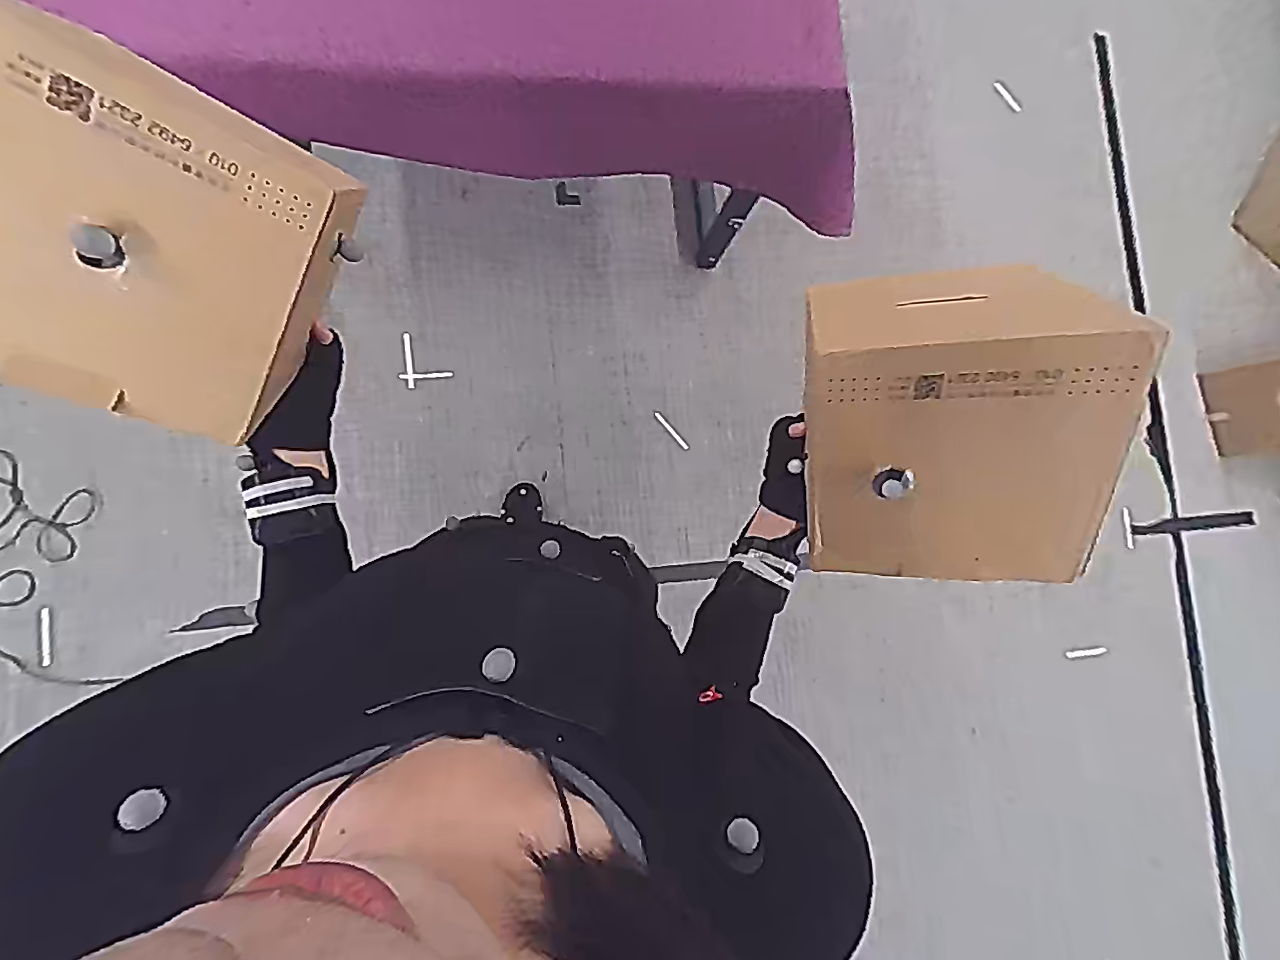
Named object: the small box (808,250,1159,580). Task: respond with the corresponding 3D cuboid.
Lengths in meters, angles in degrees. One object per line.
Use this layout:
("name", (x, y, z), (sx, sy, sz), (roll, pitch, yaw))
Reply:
("small box", (0.208, -0.053, 0.381), (0.168, 0.179, 0.176), (1, 122, 15))

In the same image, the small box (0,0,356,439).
("small box", (-0.293, -0.154, 0.326), (0.168, 0.179, 0.176), (22, 107, -29))
